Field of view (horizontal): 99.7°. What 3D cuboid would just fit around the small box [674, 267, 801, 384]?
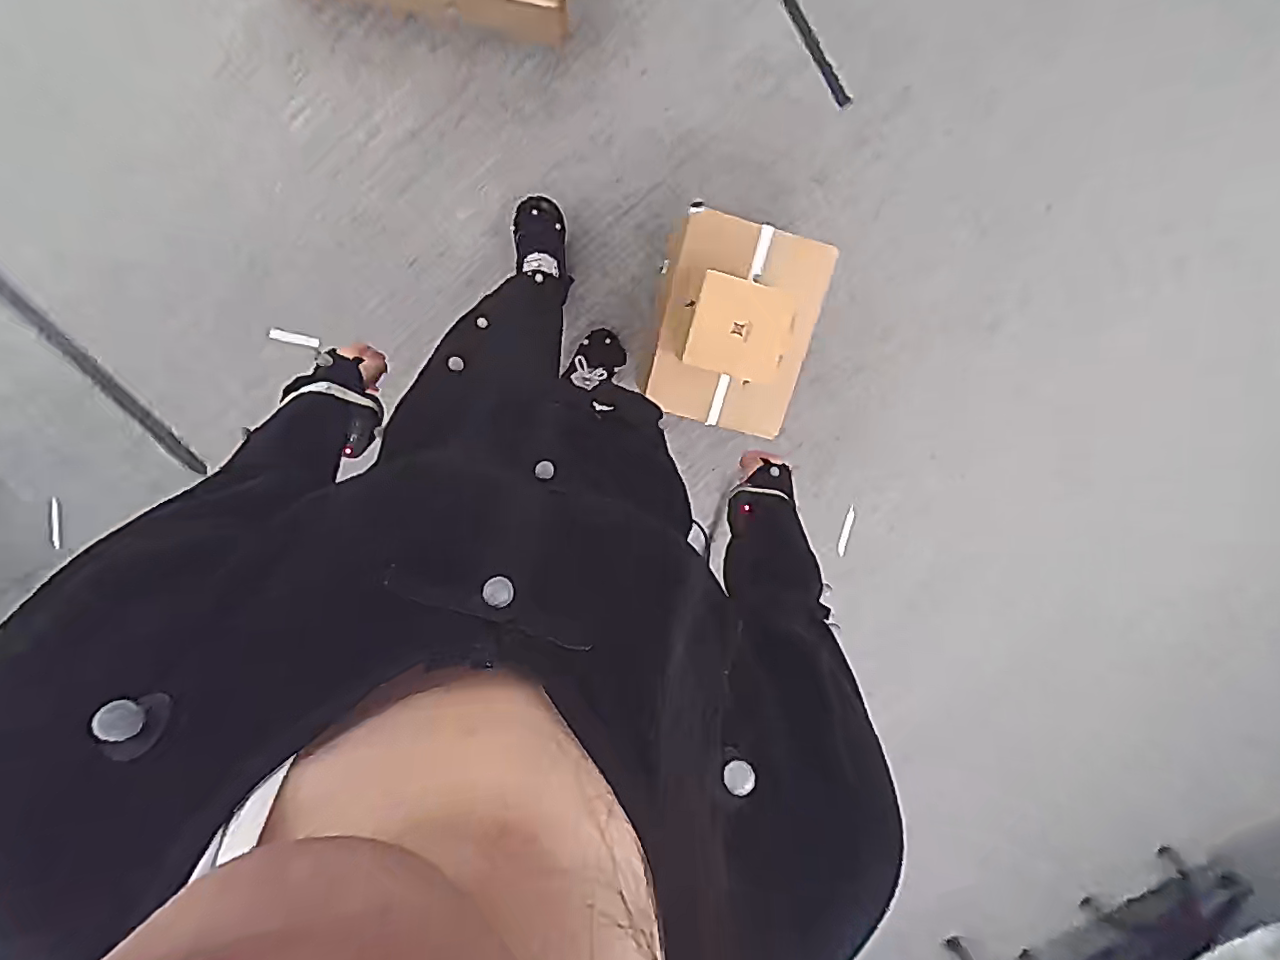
[{"bbox_3d":[0.173,-0.292,1.027,0.179,0.176,0.168,13,107,-8],"label":"small box"}]
